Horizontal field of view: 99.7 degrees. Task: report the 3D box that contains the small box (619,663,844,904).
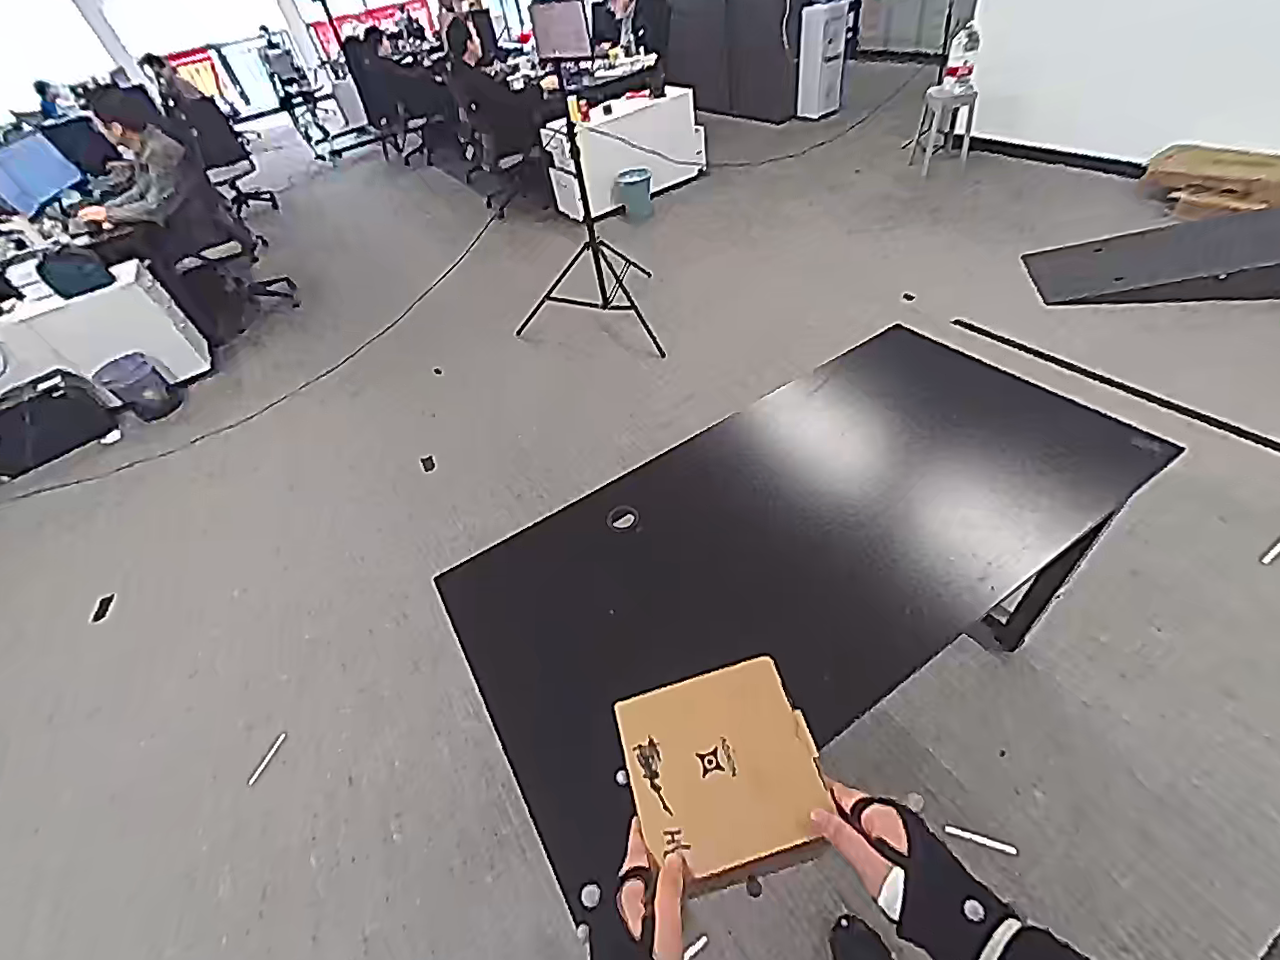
[{"bbox_3d":[0.086,0.325,0.577,0.179,0.176,0.168,-15,48,-4],"label":"small box"}]
